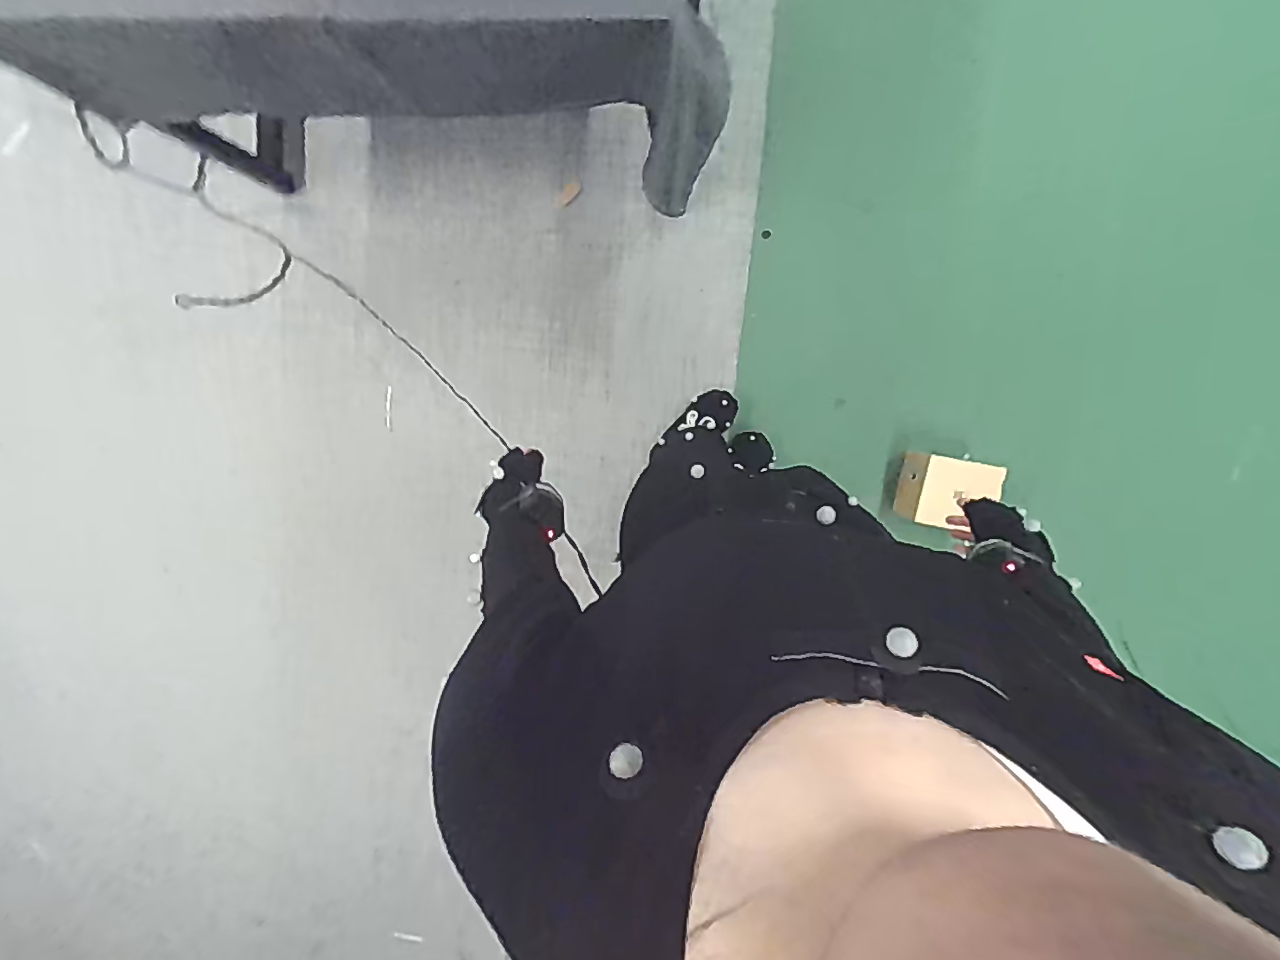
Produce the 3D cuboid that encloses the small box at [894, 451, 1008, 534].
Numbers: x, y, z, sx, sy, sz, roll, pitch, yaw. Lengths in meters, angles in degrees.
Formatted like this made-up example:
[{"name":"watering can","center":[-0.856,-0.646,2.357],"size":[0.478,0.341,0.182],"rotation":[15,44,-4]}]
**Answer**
[{"name":"small box","center":[0.760,0.023,1.342],"size":[0.179,0.176,0.168],"rotation":[11,97,5]}]
